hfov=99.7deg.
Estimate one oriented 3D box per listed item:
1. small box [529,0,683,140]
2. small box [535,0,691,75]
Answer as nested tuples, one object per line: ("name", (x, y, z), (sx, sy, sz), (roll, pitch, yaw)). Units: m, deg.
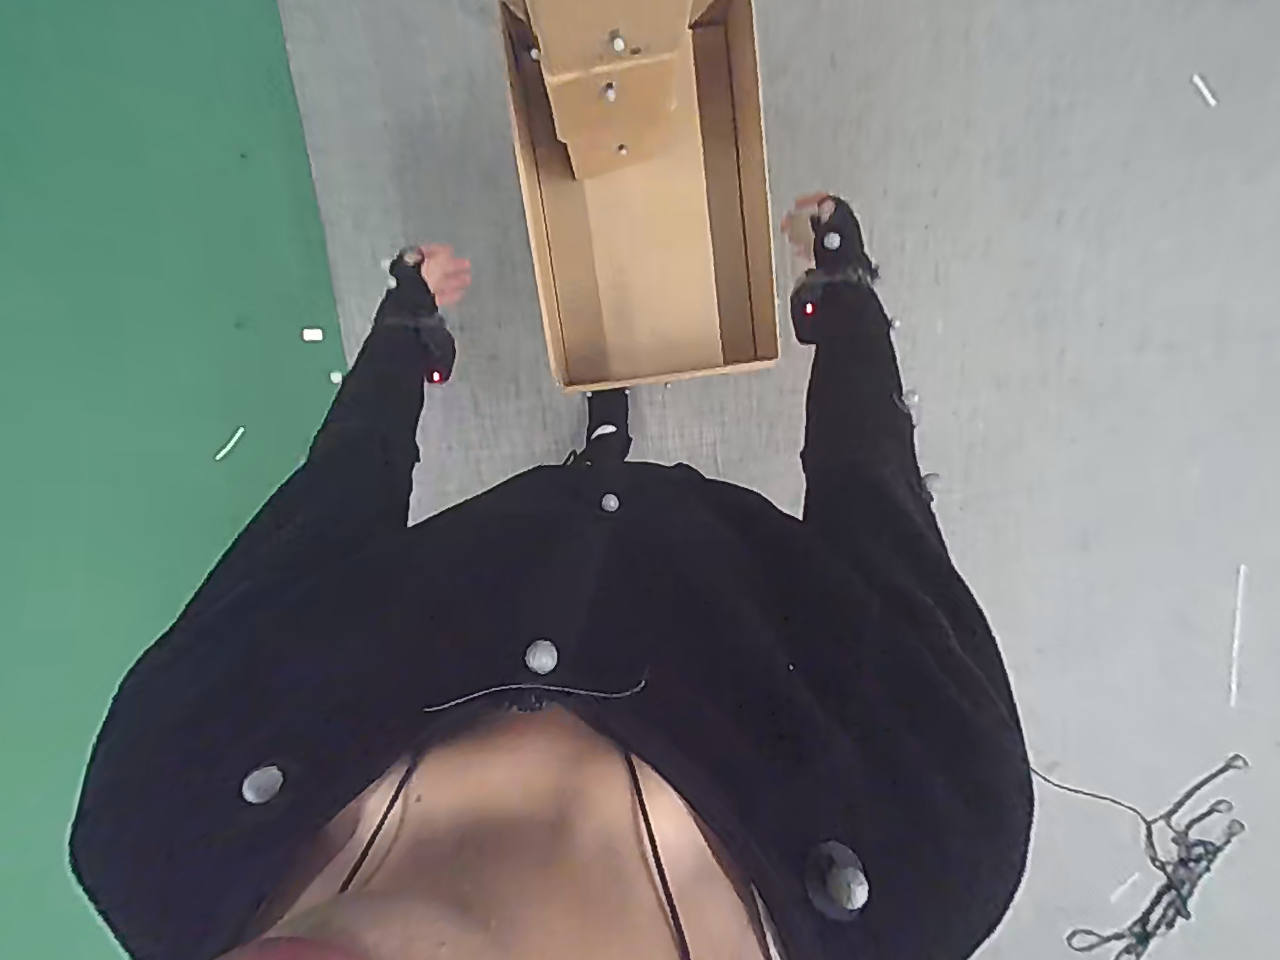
("small box", (-0.049, -0.596, 0.734), (0.179, 0.176, 0.168), (-12, 101, 1))
("small box", (-0.039, -0.578, 0.569), (0.168, 0.176, 0.179), (-10, 101, 1))
